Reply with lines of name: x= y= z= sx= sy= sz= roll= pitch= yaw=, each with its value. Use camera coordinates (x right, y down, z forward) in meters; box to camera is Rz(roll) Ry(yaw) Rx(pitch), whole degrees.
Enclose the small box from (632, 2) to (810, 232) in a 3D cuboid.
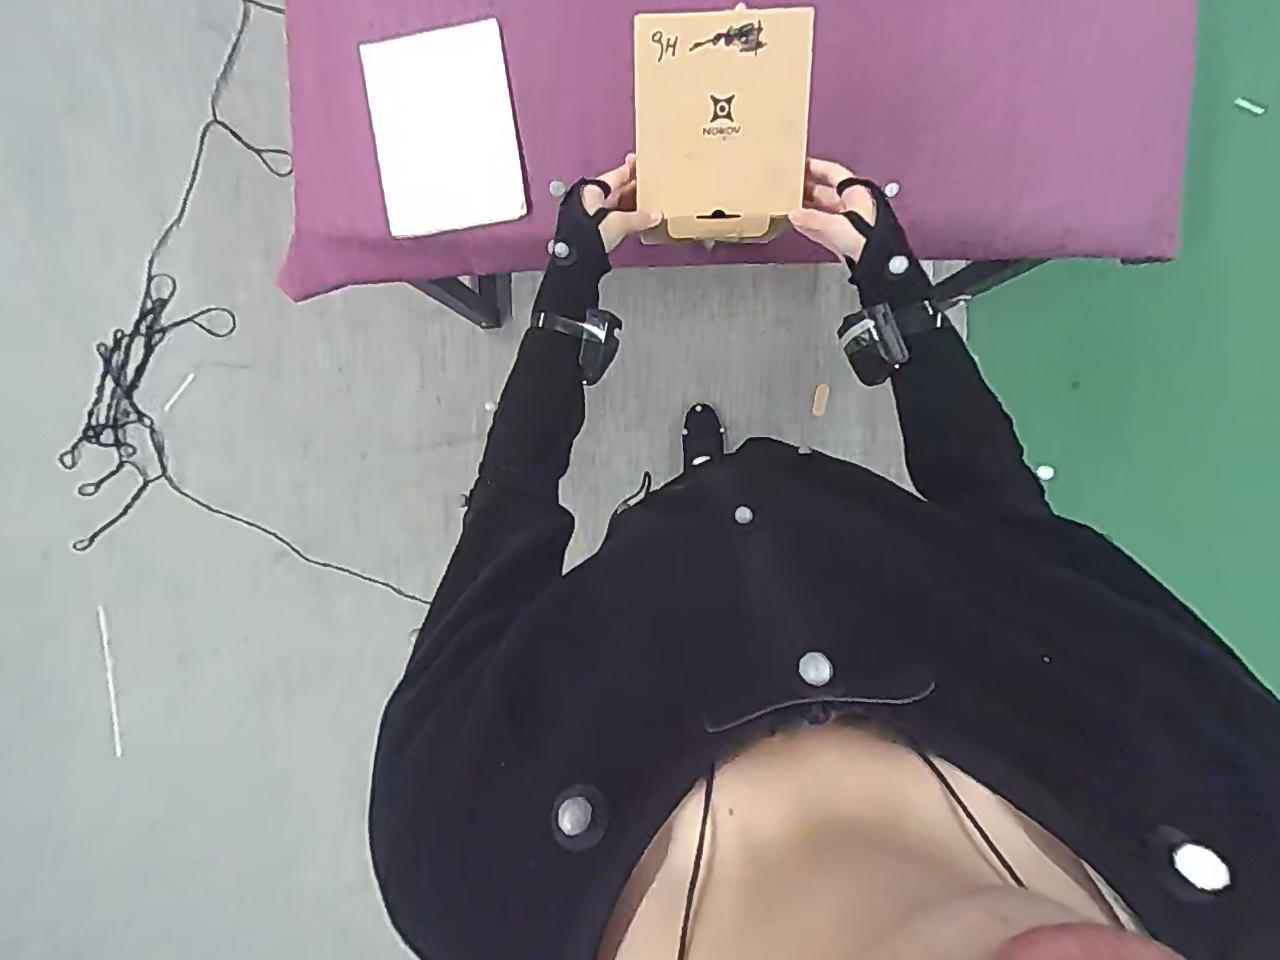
small box: x=0.078 y=-0.376 z=0.596 sx=0.168 sy=0.176 sz=0.179 roll=0 pitch=107 yaw=2
